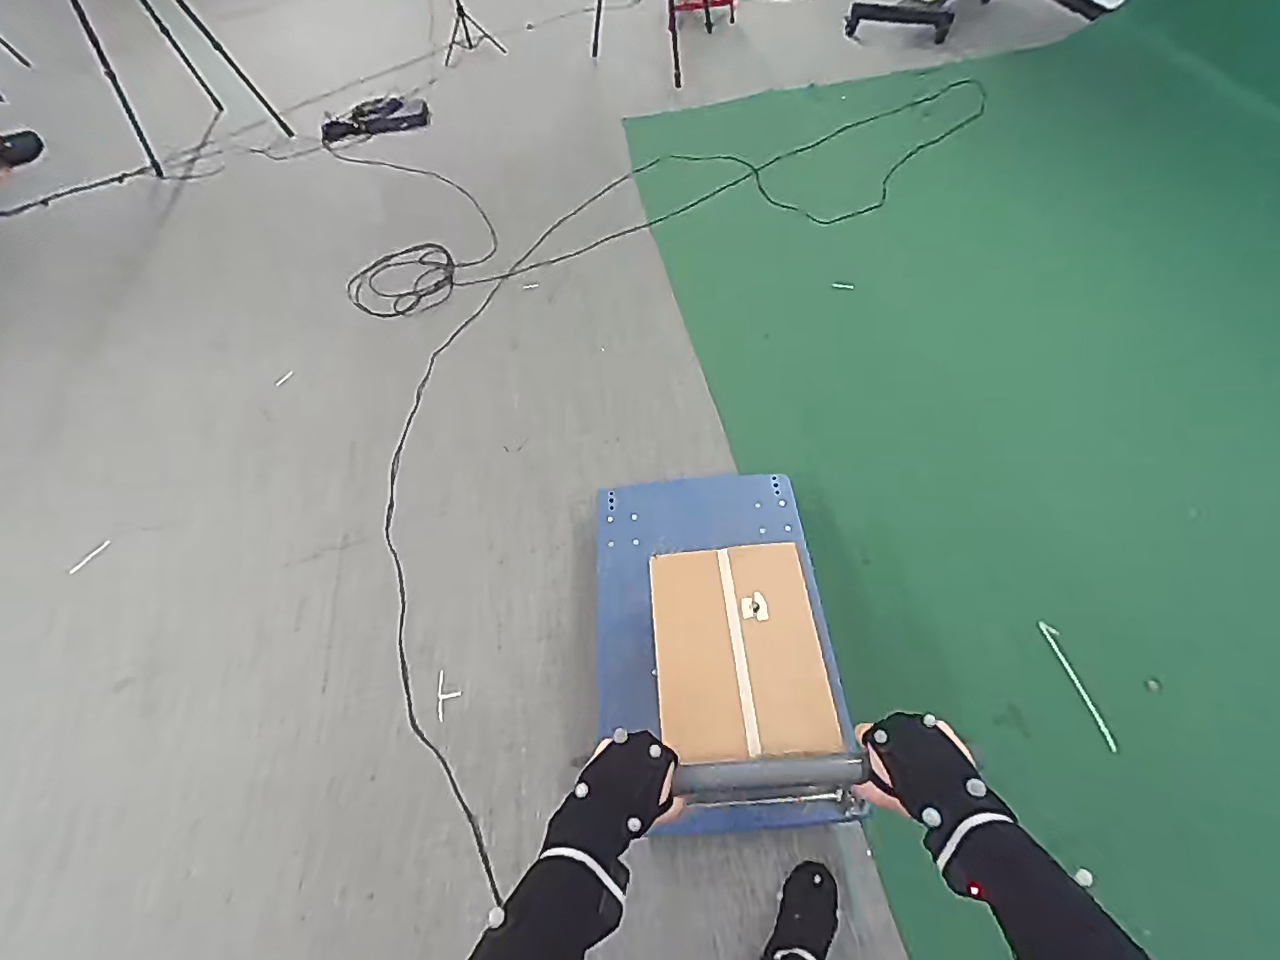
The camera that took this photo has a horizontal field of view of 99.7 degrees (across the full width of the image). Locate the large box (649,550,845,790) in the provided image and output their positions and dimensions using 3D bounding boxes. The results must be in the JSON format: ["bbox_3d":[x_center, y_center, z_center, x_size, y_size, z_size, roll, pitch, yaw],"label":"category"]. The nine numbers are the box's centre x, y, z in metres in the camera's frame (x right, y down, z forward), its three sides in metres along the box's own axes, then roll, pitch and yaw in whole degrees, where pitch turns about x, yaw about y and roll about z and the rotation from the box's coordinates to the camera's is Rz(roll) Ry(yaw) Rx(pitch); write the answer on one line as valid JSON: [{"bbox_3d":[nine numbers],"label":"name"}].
[{"bbox_3d":[0.201,0.411,1.162,0.320,0.320,0.408,-6,55,1],"label":"large box"}]
